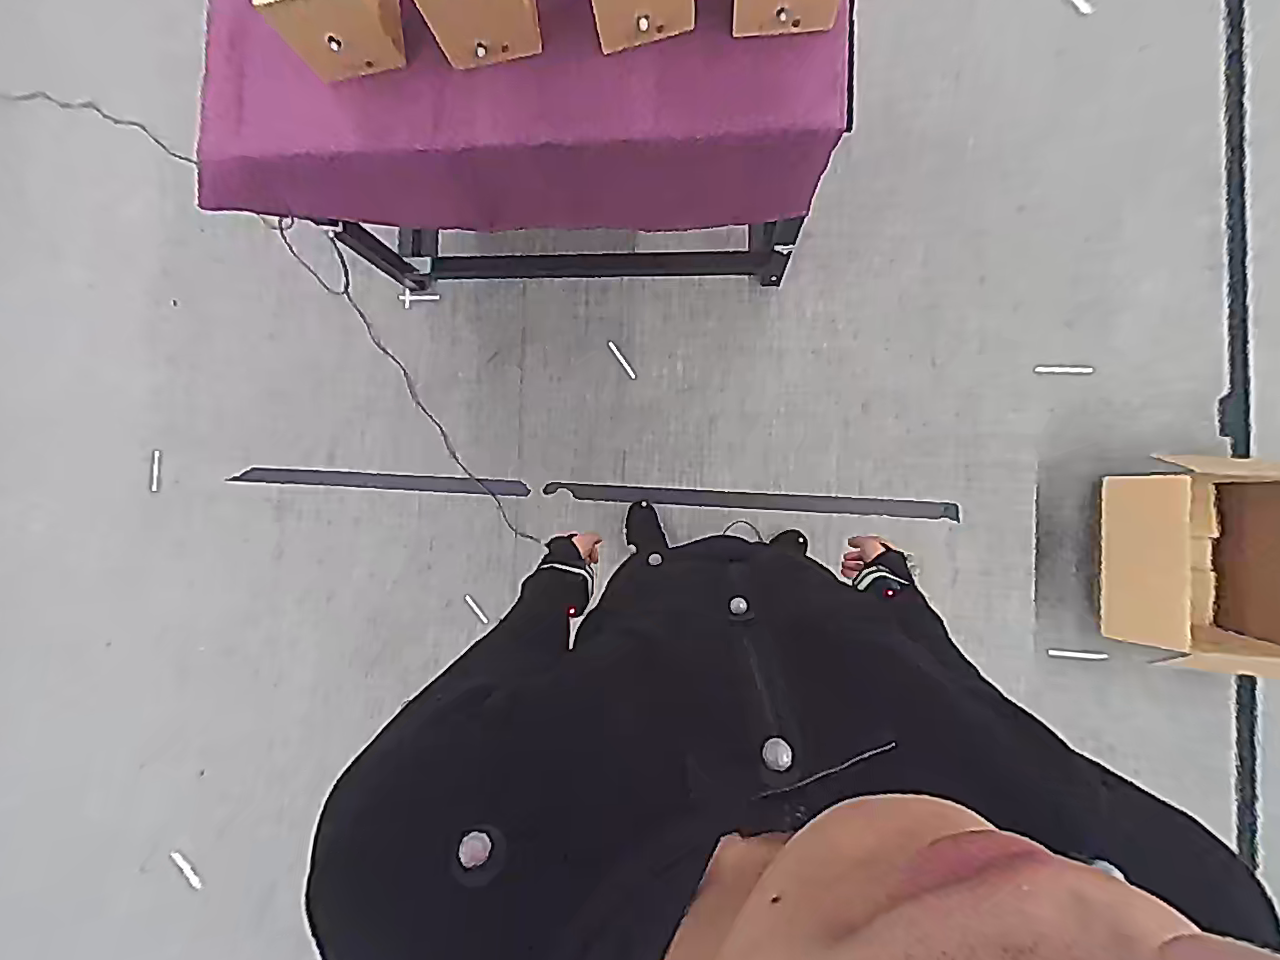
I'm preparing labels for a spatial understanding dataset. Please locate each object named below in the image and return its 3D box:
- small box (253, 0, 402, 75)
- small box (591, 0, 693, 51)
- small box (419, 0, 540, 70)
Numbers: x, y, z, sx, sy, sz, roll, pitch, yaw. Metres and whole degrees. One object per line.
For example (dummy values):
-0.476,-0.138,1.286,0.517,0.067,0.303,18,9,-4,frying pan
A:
-0.527,-0.834,0.920,0.168,0.176,0.179,-7,88,5,small box
-0.010,-0.851,0.865,0.168,0.176,0.179,-12,88,6,small box
-0.275,-0.837,0.895,0.168,0.176,0.179,-8,87,7,small box
